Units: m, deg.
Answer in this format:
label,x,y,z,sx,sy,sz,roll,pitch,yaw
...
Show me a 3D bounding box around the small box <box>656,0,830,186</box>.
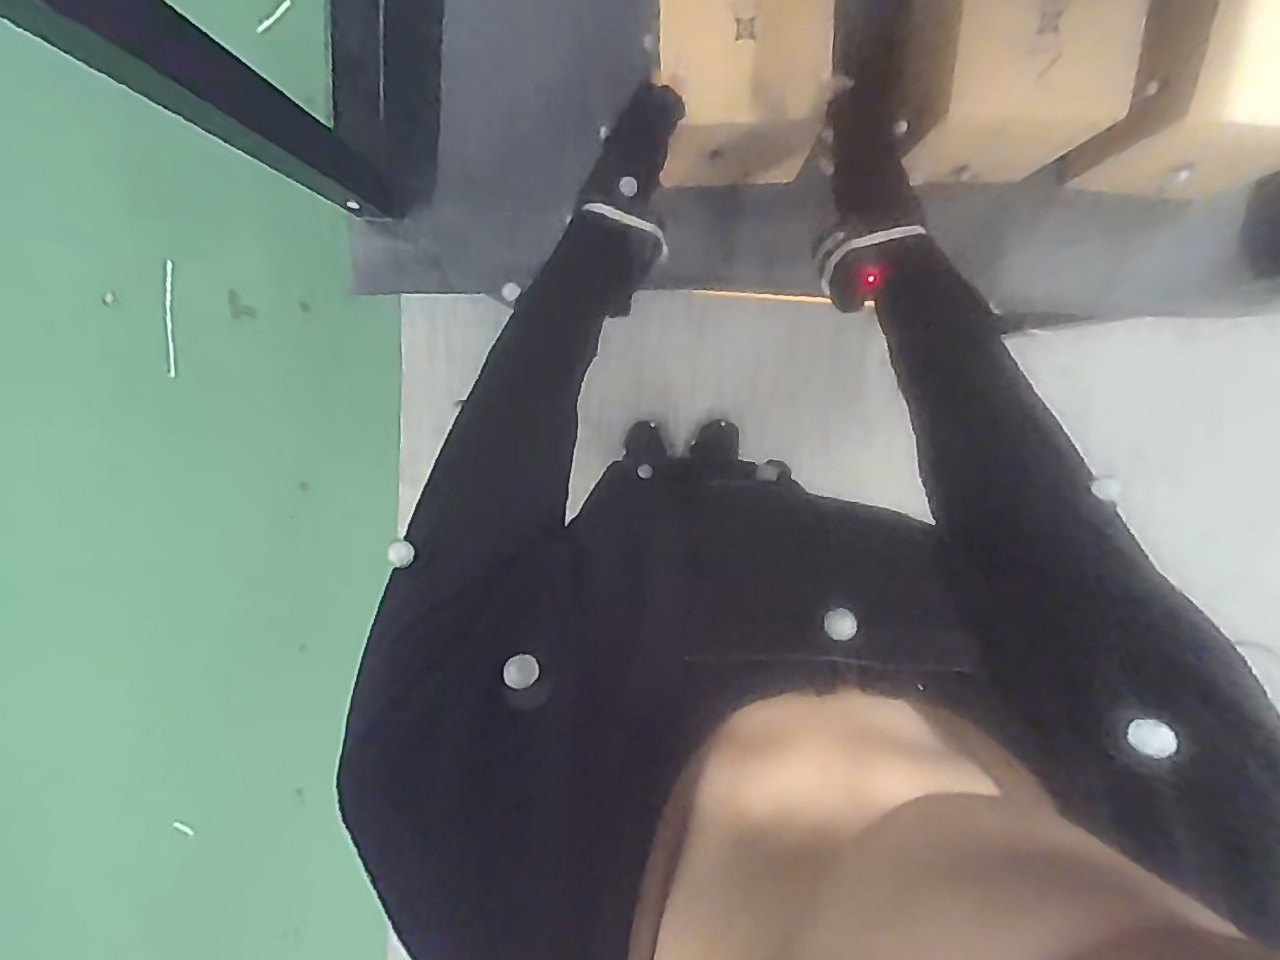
label,x,y,z,sx,sy,sz,roll,pitch,yaw
small box,0.103,-0.441,0.594,0.168,0.176,0.179,0,98,4
